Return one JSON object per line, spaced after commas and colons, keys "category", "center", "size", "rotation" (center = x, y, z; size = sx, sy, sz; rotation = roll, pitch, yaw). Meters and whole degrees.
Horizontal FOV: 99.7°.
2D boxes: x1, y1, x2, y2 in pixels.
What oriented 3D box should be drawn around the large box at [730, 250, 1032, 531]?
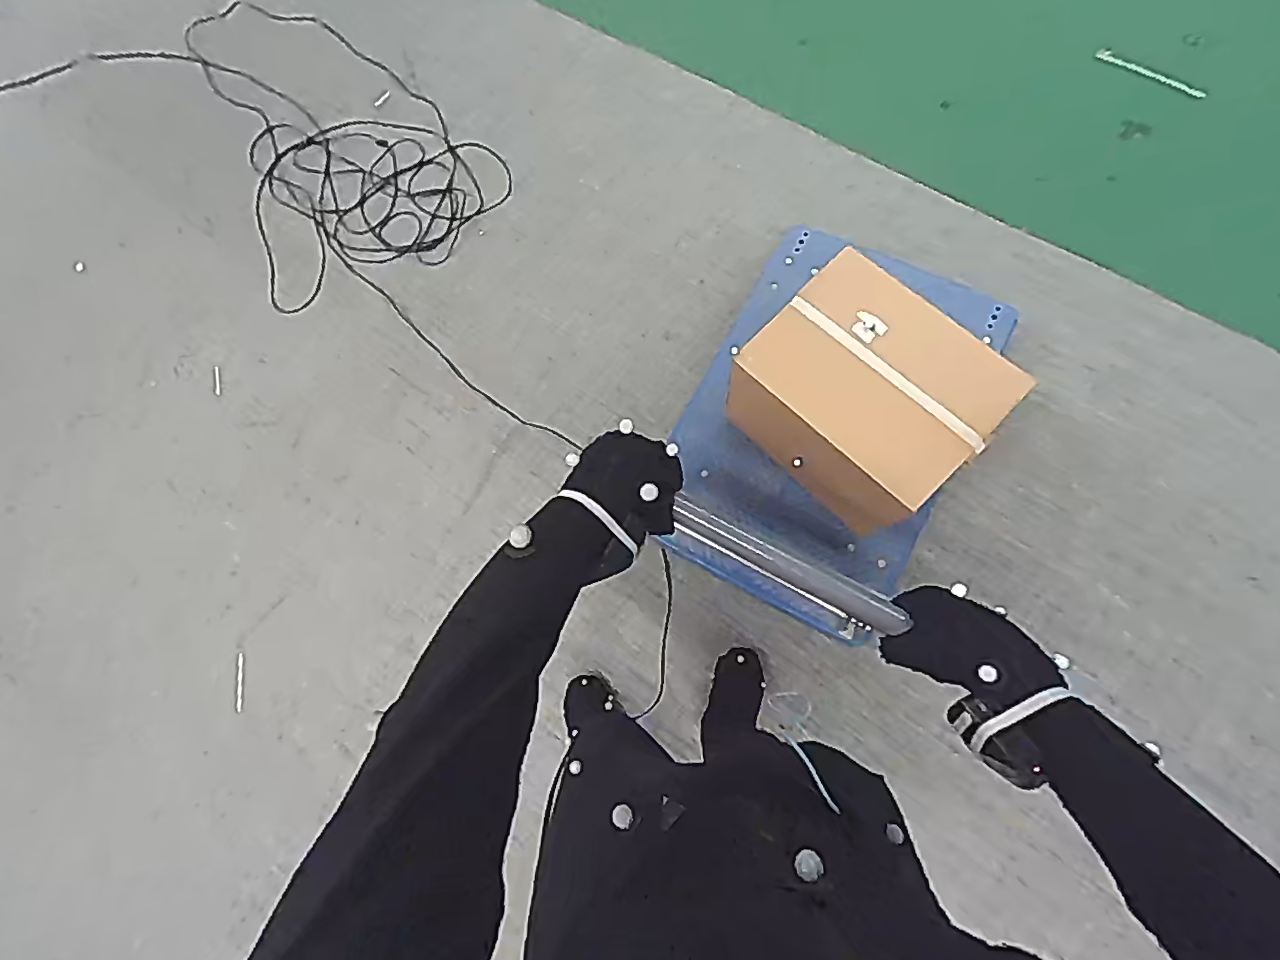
{"category": "large box", "center": [0.429, -0.154, 1.076], "size": [0.320, 0.320, 0.408], "rotation": [-45, 75, -5]}
